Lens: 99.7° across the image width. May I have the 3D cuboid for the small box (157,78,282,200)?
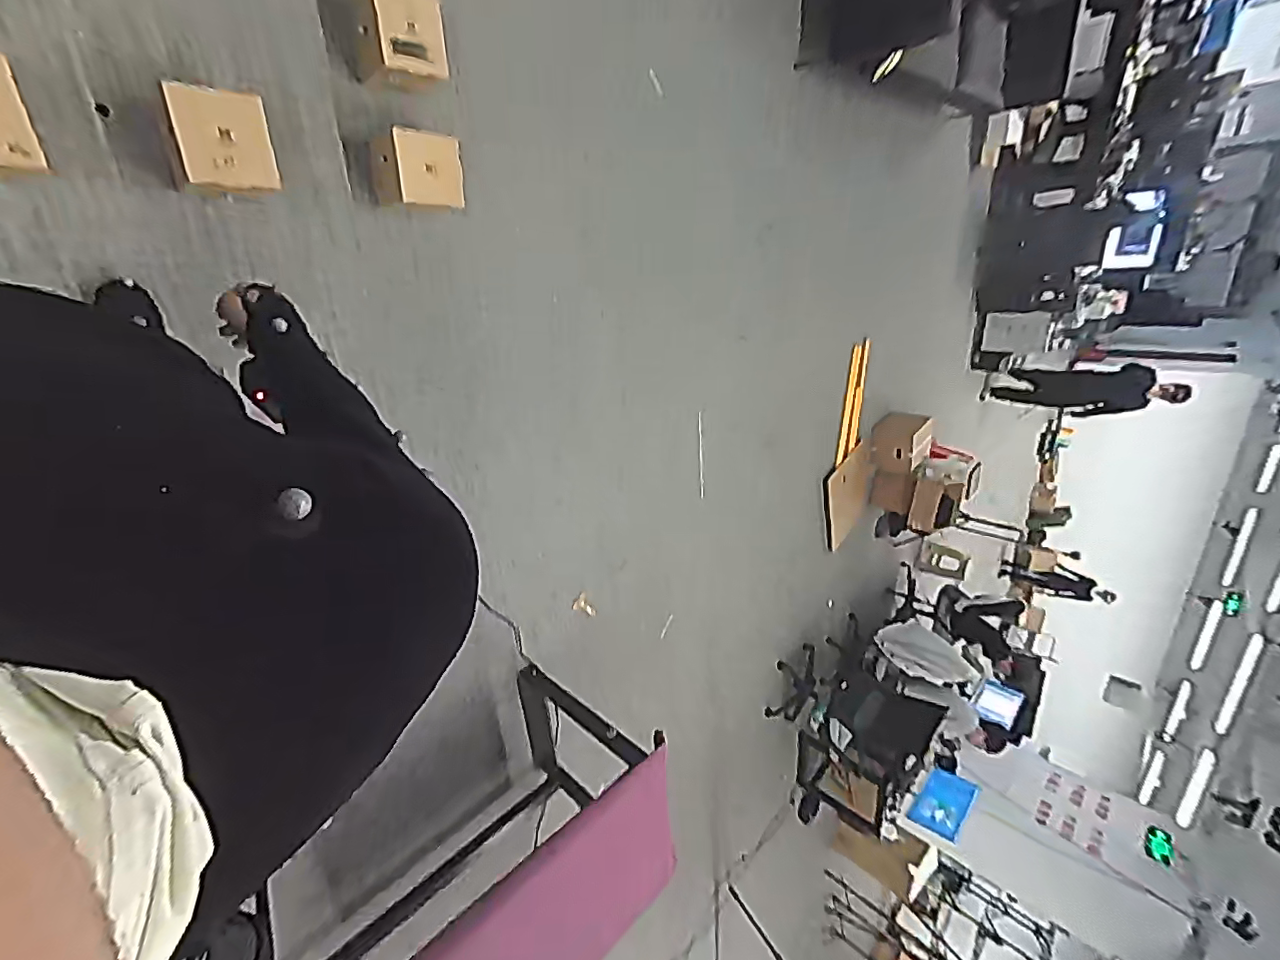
[{"bbox_3d":[-0.896,-0.713,1.151,0.168,0.176,0.179,-19,116,-41],"label":"small box"}]

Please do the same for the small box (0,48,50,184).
[{"bbox_3d":[-1.150,-0.620,0.916,0.168,0.176,0.179,-21,116,-40],"label":"small box"}]

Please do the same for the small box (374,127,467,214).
[{"bbox_3d":[-0.589,-0.815,1.441,0.179,0.176,0.168,-20,116,-42],"label":"small box"}]
